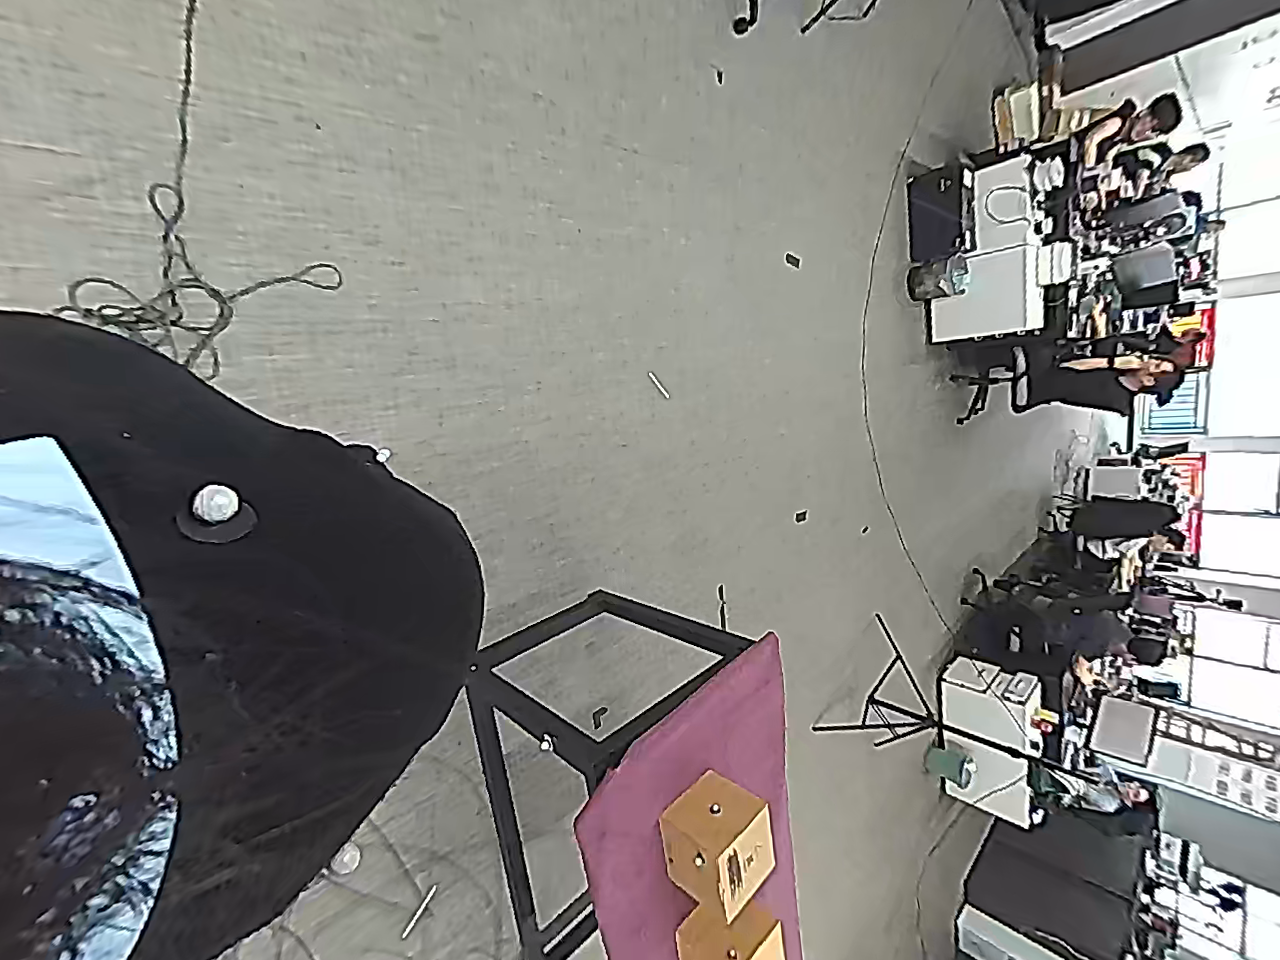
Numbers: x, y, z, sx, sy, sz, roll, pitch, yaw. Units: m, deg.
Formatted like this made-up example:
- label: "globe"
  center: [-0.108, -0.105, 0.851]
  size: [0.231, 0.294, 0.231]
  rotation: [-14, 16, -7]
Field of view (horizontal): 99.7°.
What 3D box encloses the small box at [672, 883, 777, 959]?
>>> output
- label: "small box"
  center: [0.195, 1.086, 1.238]
  size: [0.179, 0.176, 0.168]
  rotation: [-17, 104, -40]
